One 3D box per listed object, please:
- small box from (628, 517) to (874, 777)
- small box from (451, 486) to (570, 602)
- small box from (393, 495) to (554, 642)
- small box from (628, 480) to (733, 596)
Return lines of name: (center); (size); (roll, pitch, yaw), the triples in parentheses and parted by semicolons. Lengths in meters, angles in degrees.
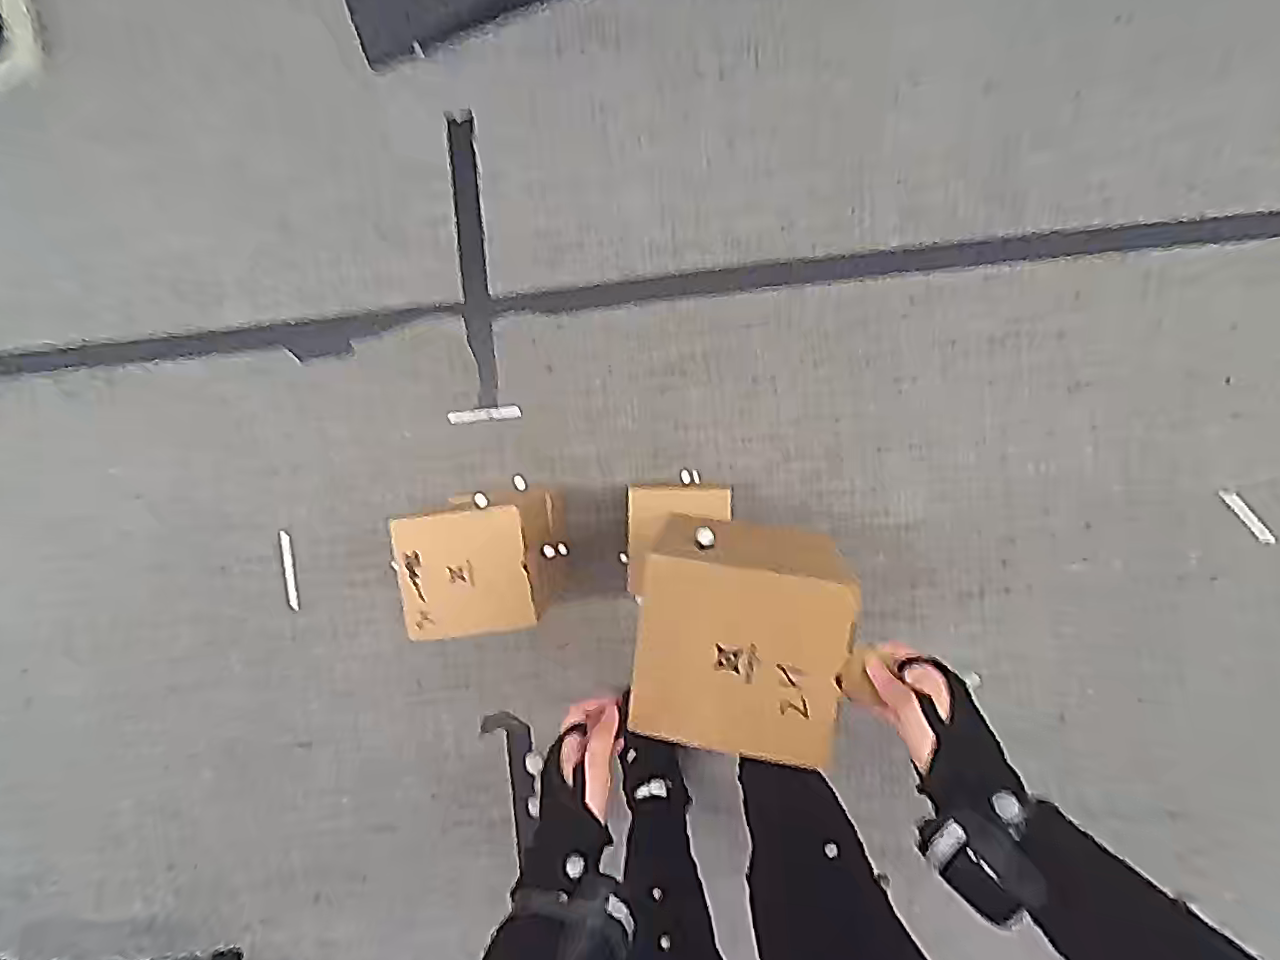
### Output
small box: (0.097, 0.138, 0.515); (0.179, 0.176, 0.168); (9, 100, 8)
small box: (-0.217, 0.107, 0.947); (0.168, 0.176, 0.179); (-2, 94, 1)
small box: (-0.225, 0.118, 0.783); (0.179, 0.176, 0.168); (-7, 94, 1)
small box: (0.066, 0.097, 0.943); (0.168, 0.176, 0.179); (1, 94, 0)
